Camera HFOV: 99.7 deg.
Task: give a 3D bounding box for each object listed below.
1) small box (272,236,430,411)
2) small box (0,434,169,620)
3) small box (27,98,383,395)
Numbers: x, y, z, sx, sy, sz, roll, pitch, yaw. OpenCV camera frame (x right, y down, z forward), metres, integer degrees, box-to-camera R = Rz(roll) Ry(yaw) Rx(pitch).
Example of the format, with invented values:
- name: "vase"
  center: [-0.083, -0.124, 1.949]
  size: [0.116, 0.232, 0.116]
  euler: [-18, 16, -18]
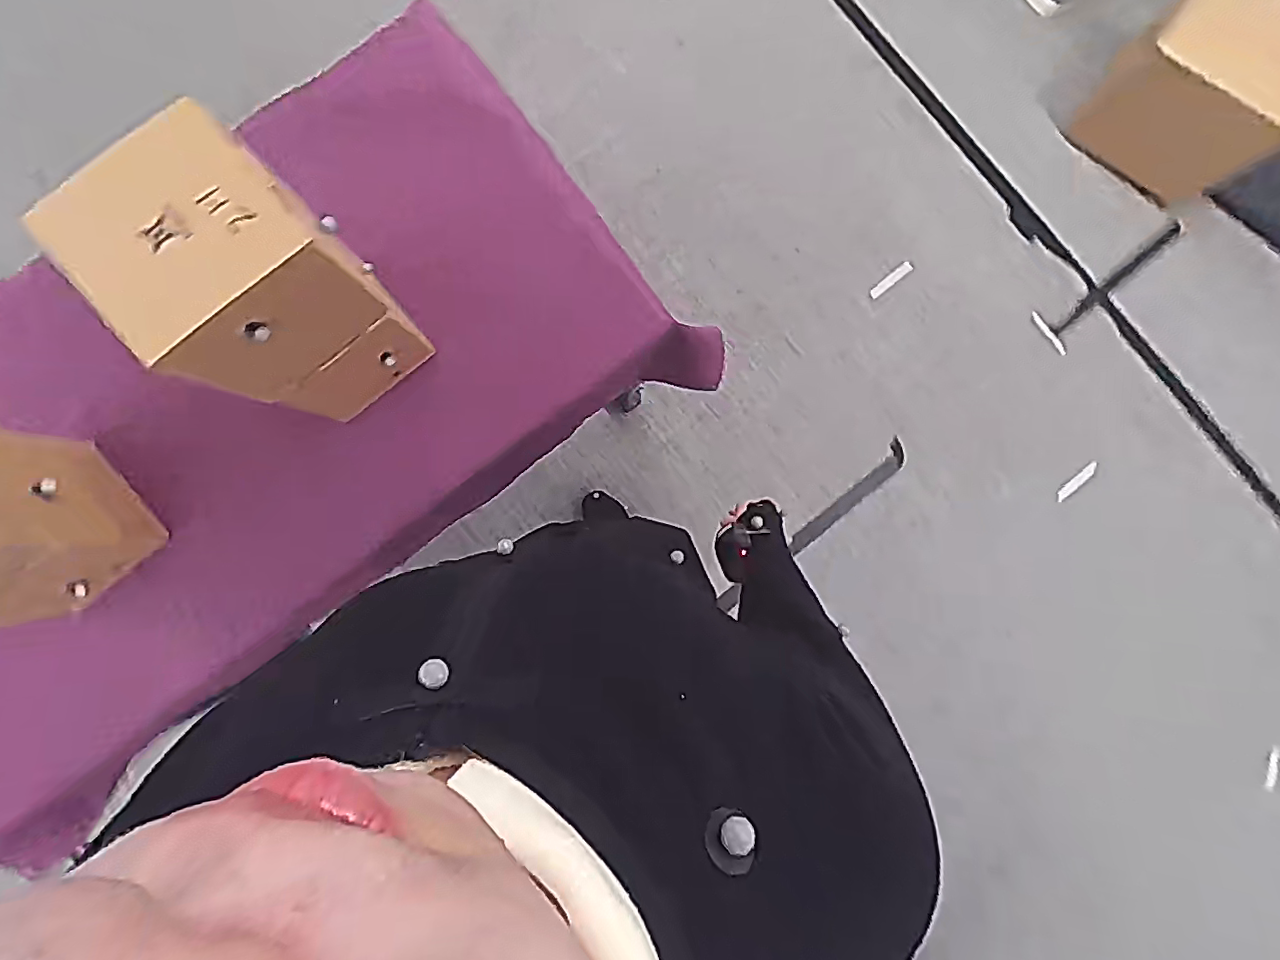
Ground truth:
- name: "small box"
  center: [-0.407, -0.204, 0.698]
  size: [0.168, 0.176, 0.179]
  euler: [-39, 90, -3]
- name: "small box"
  center: [-0.769, 0.061, 0.676]
  size: [0.168, 0.176, 0.179]
  euler: [-40, 91, -3]
- name: "small box"
  center: [-0.398, -0.207, 0.534]
  size: [0.179, 0.176, 0.168]
  euler: [-41, 91, -4]
